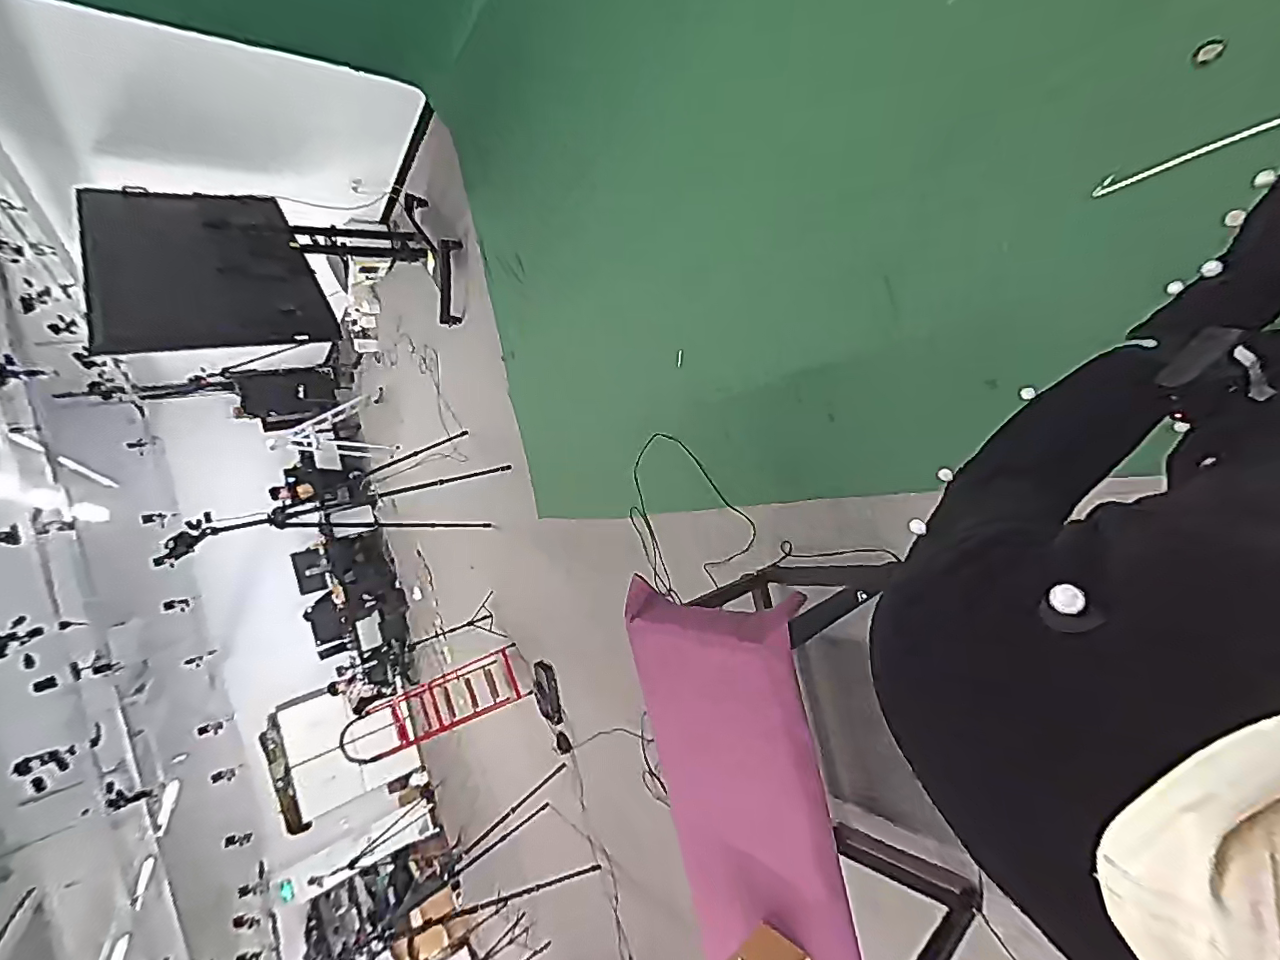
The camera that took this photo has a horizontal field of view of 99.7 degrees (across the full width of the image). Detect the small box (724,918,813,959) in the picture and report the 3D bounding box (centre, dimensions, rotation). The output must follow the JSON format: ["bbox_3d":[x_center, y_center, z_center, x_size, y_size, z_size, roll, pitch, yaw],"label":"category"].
[{"bbox_3d":[0.359,1.335,1.445,0.179,0.176,0.168,-14,91,54],"label":"small box"}]
